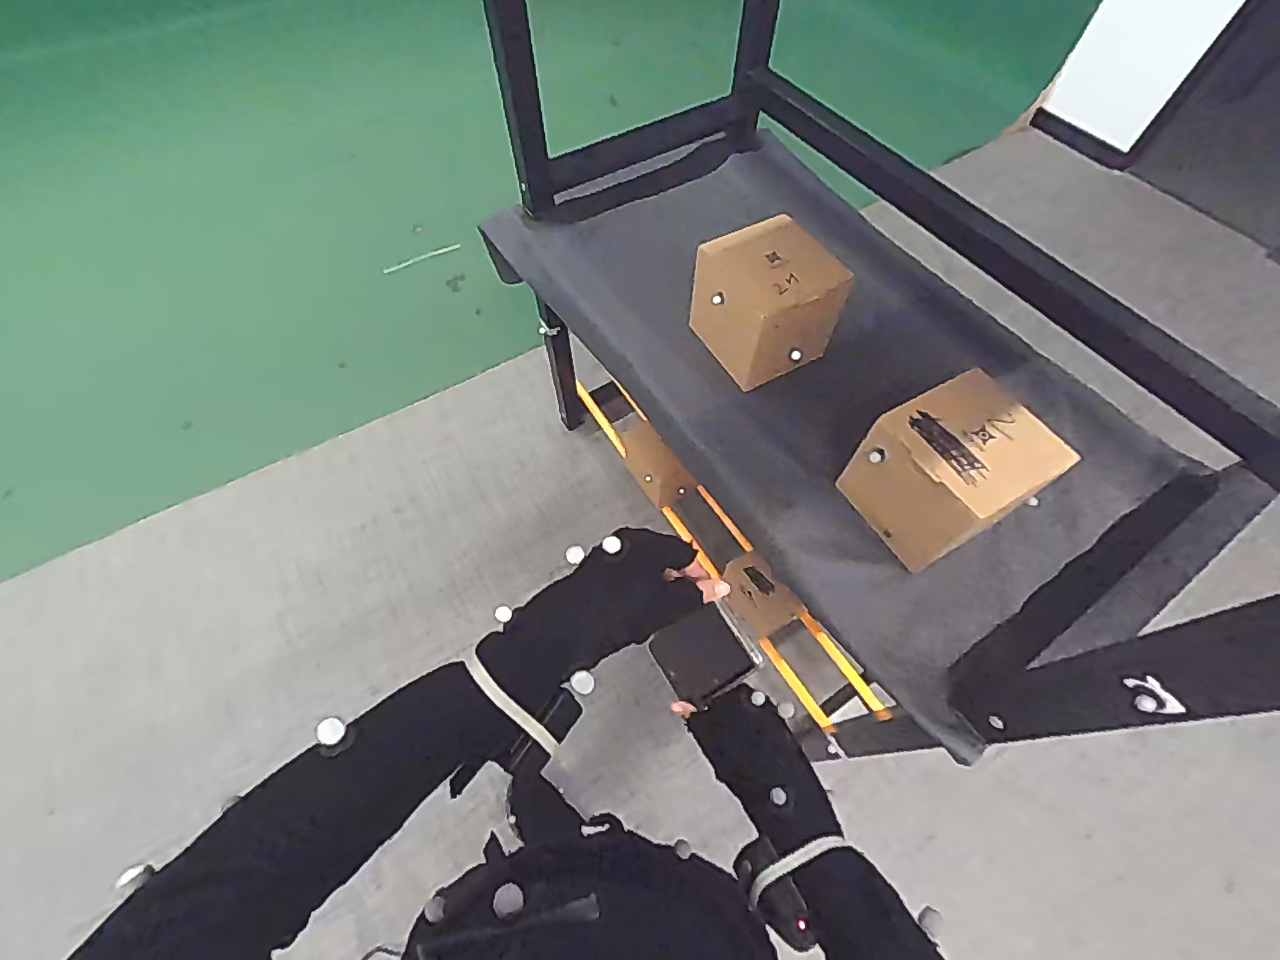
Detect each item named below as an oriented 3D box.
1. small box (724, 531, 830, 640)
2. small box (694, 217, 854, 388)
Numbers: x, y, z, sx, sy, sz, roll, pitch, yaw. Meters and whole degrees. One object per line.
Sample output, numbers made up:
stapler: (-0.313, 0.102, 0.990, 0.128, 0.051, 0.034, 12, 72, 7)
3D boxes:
small box: (0.314, 0.257, 1.289, 0.179, 0.176, 0.168, -26, 64, -14)
small box: (0.203, -0.284, 0.878, 0.168, 0.176, 0.179, -26, 64, -14)
